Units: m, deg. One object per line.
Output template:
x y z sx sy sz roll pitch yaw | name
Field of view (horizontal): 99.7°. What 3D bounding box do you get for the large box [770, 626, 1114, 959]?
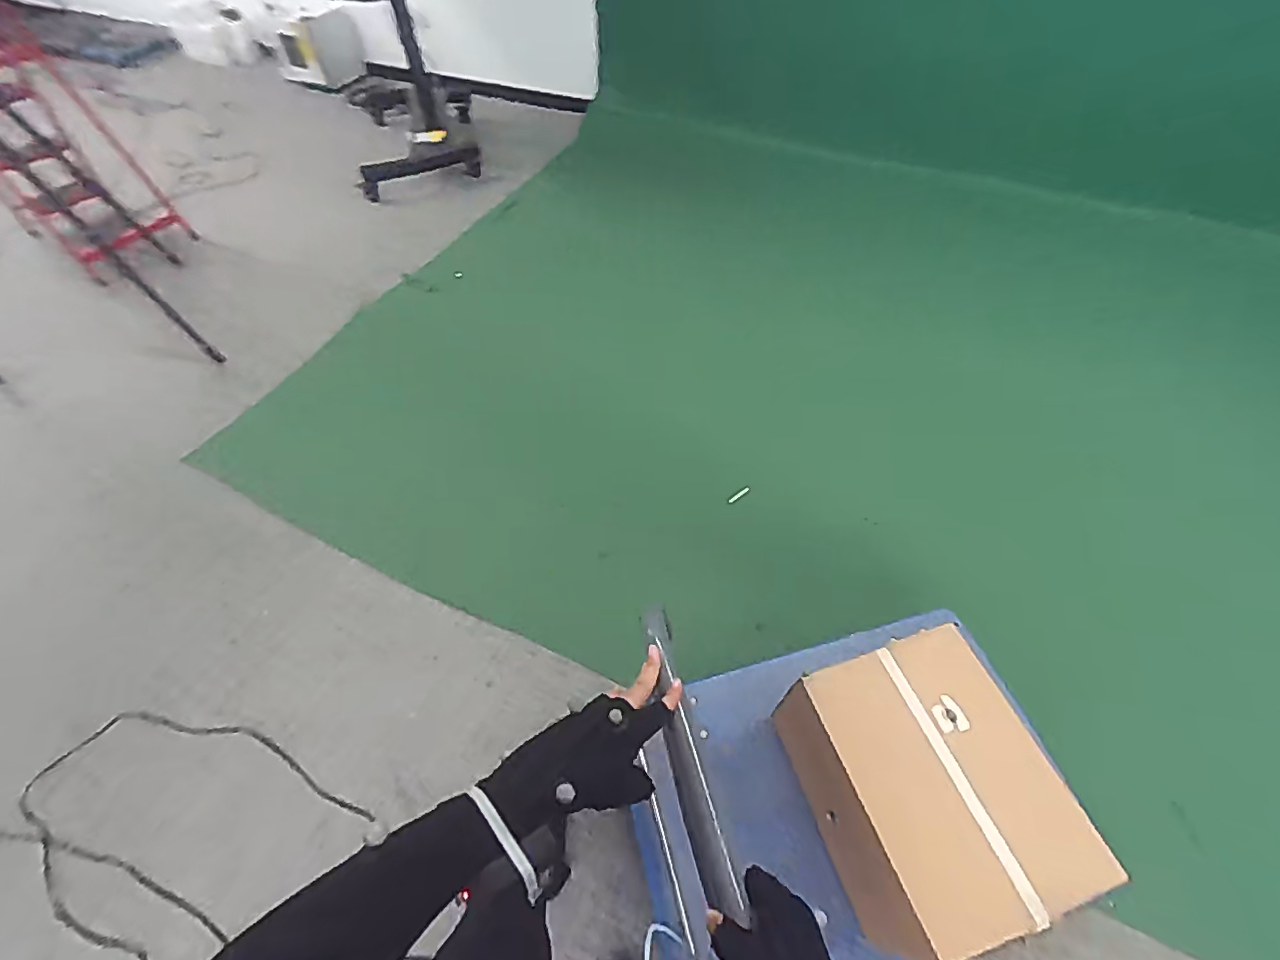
0.484 0.548 0.984 0.320 0.320 0.408 -15 54 -11 | large box
